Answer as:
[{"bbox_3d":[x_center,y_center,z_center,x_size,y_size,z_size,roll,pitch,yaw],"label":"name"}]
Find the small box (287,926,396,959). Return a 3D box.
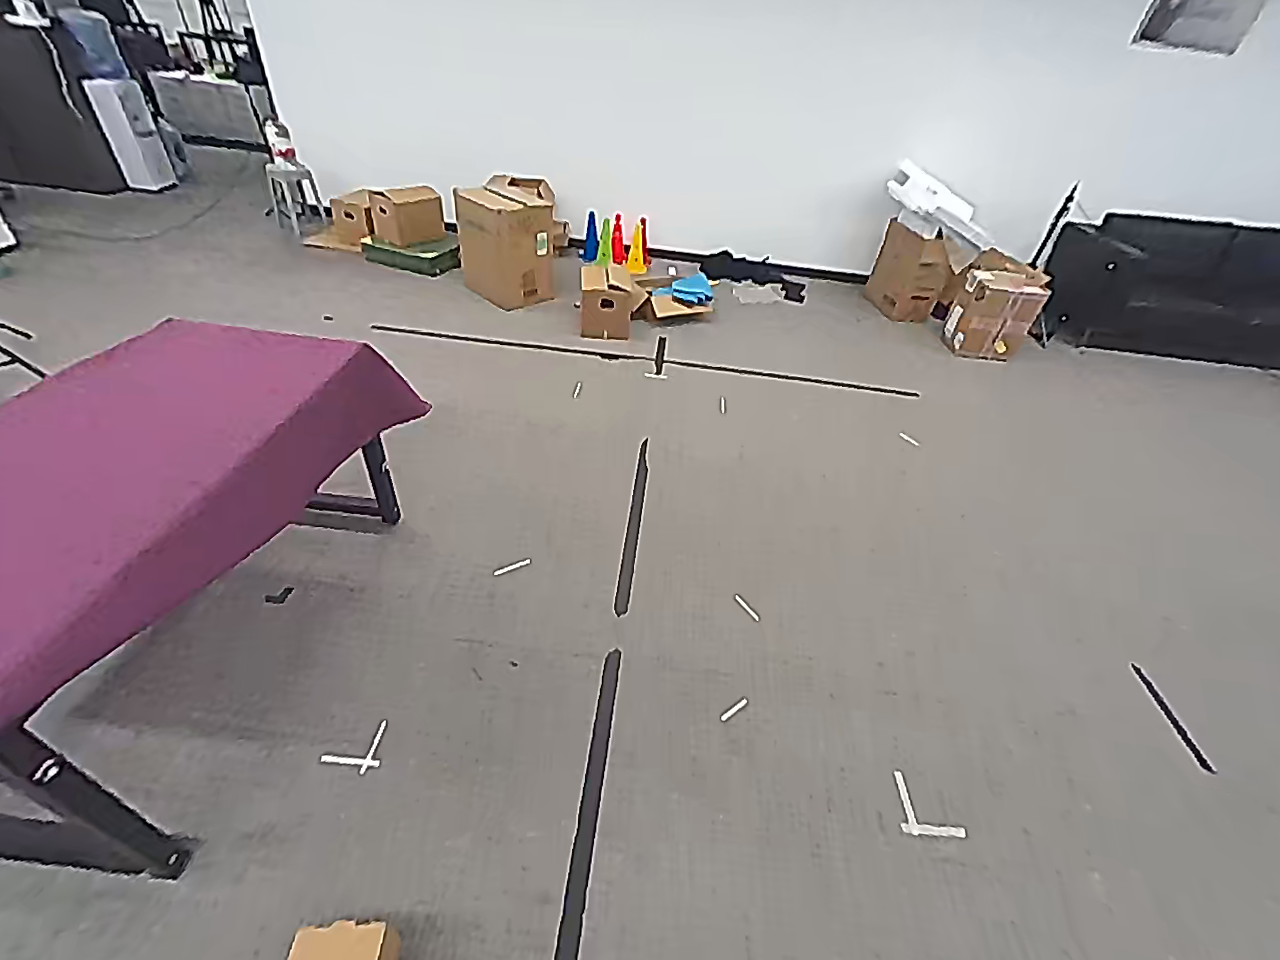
[{"bbox_3d":[-0.577,0.980,1.023,0.168,0.176,0.179,2,39,-7],"label":"small box"}]
